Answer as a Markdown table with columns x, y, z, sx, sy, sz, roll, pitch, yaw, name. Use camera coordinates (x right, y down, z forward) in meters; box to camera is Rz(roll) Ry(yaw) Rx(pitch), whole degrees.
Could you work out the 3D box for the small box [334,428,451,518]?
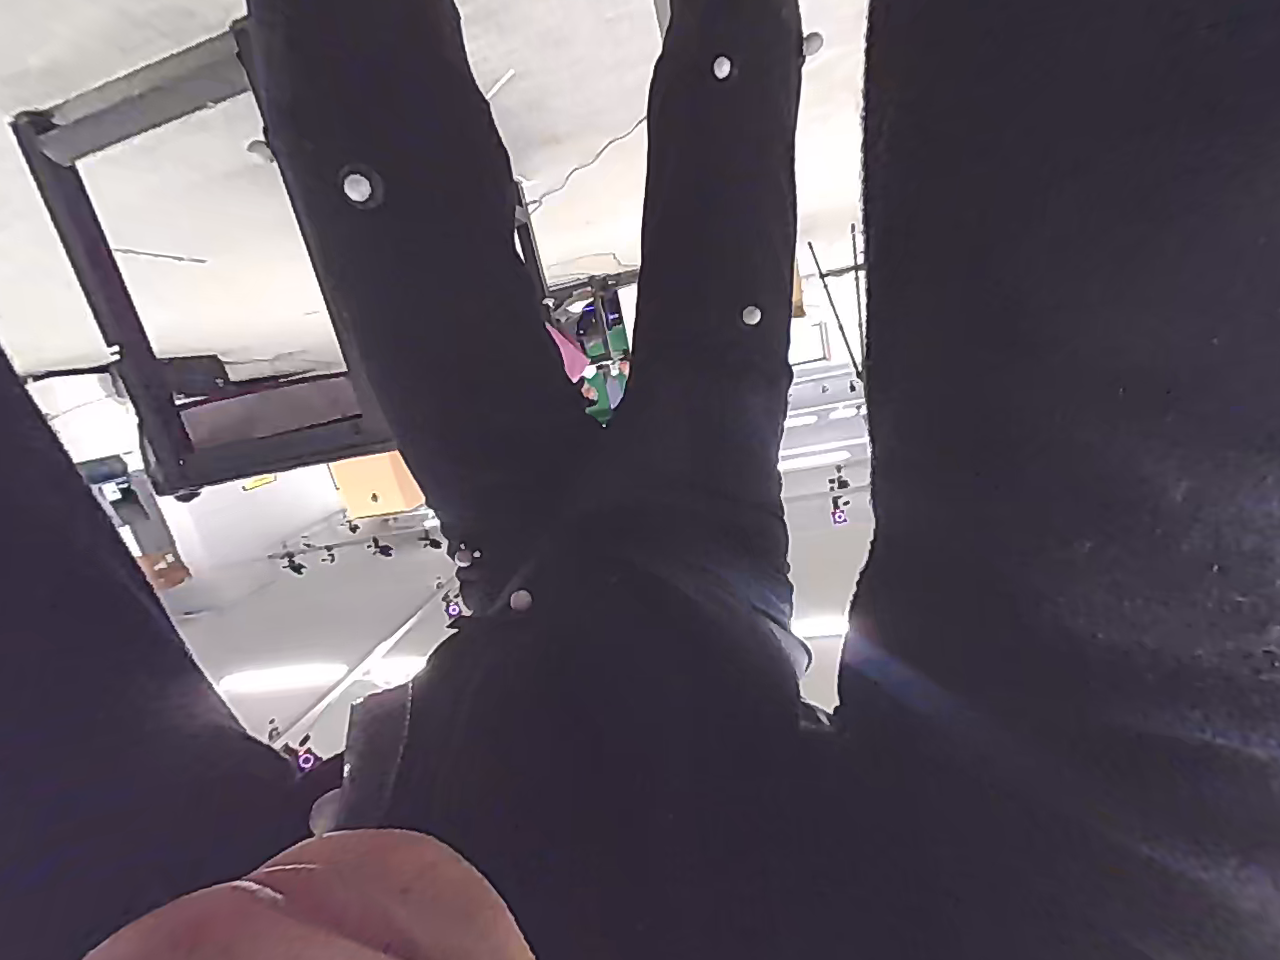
| x | y | z | sx | sy | sz | roll | pitch | yaw | name |
| --- | --- | --- | --- | --- | --- | --- | --- | --- | --- |
| -0.606 | -0.024 | 1.329 | 0.179 | 0.176 | 0.168 | -8 | -165 | 19 | small box |
